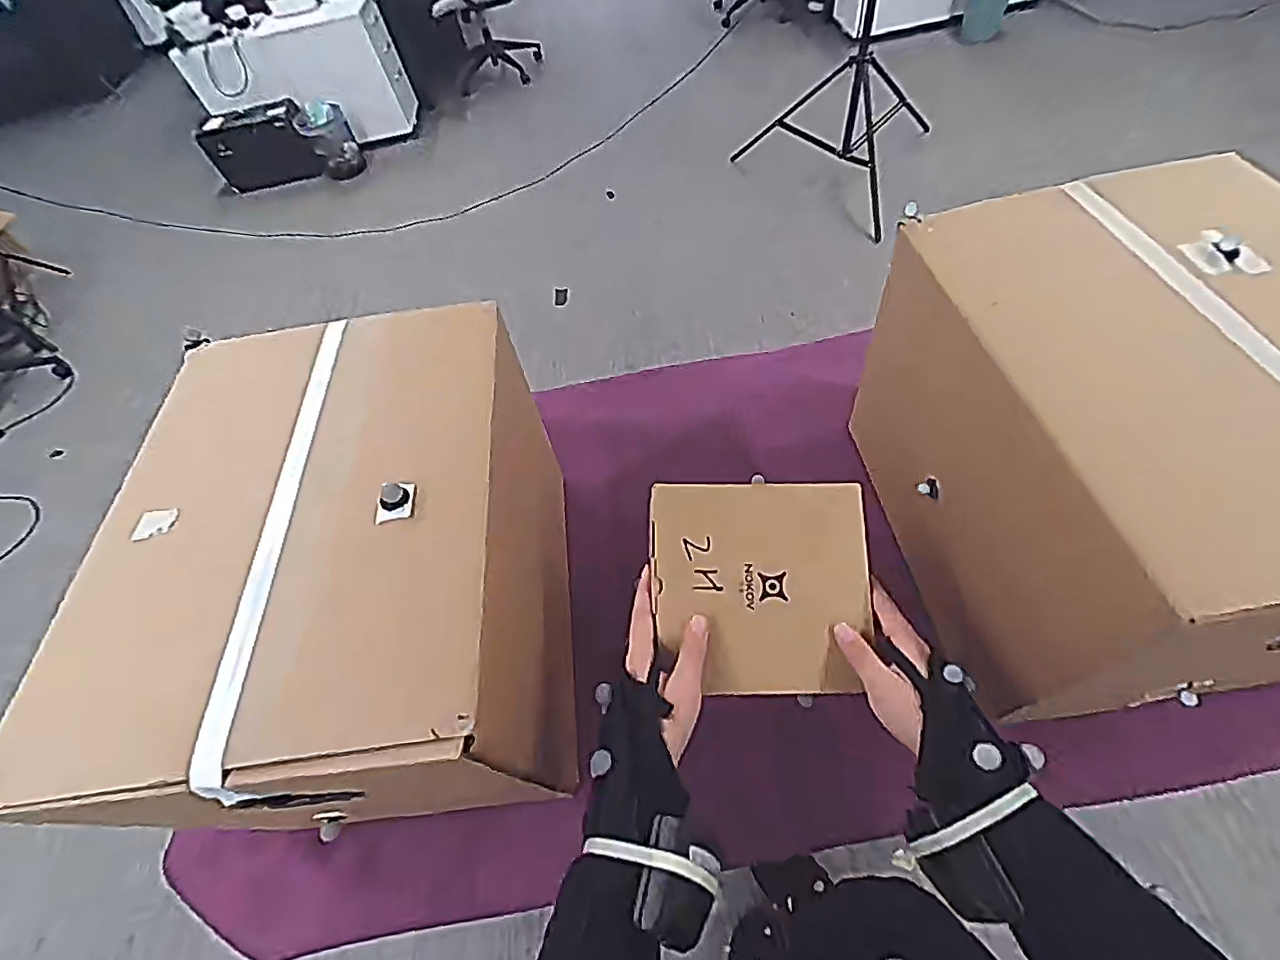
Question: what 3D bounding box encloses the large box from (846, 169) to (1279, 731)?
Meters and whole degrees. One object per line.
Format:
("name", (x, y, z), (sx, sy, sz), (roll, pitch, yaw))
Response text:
("large box", (0.437, -0.022, 0.522), (0.320, 0.320, 0.408), (-10, 54, 2))
